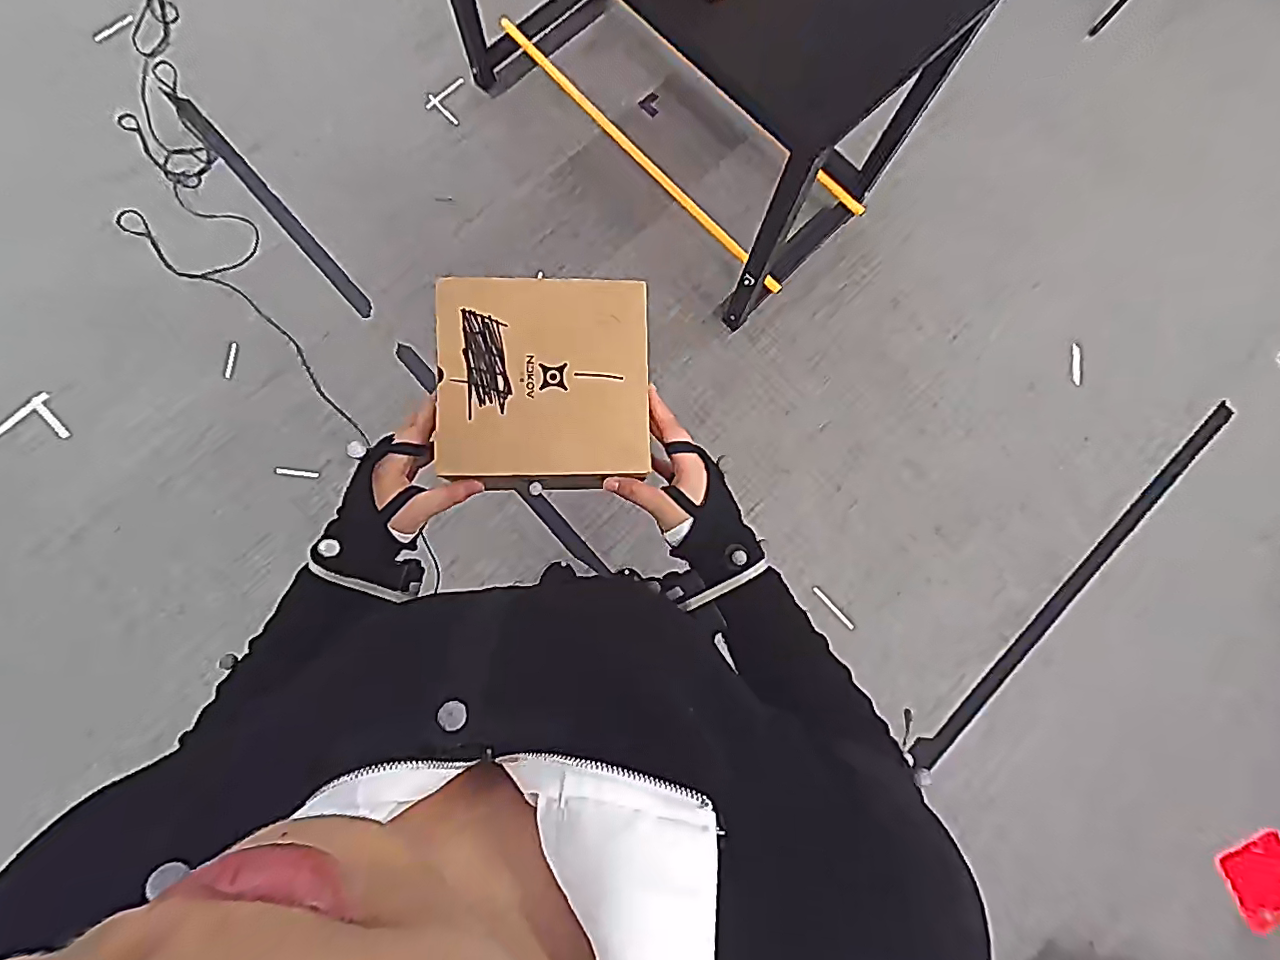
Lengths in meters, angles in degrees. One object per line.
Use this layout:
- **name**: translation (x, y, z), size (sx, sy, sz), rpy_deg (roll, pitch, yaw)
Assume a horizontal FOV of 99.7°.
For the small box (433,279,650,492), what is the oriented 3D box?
- **small box**: translation (-0.084, -0.076, 0.519), size (0.179, 0.176, 0.168), rpy_deg (-1, 85, -5)
